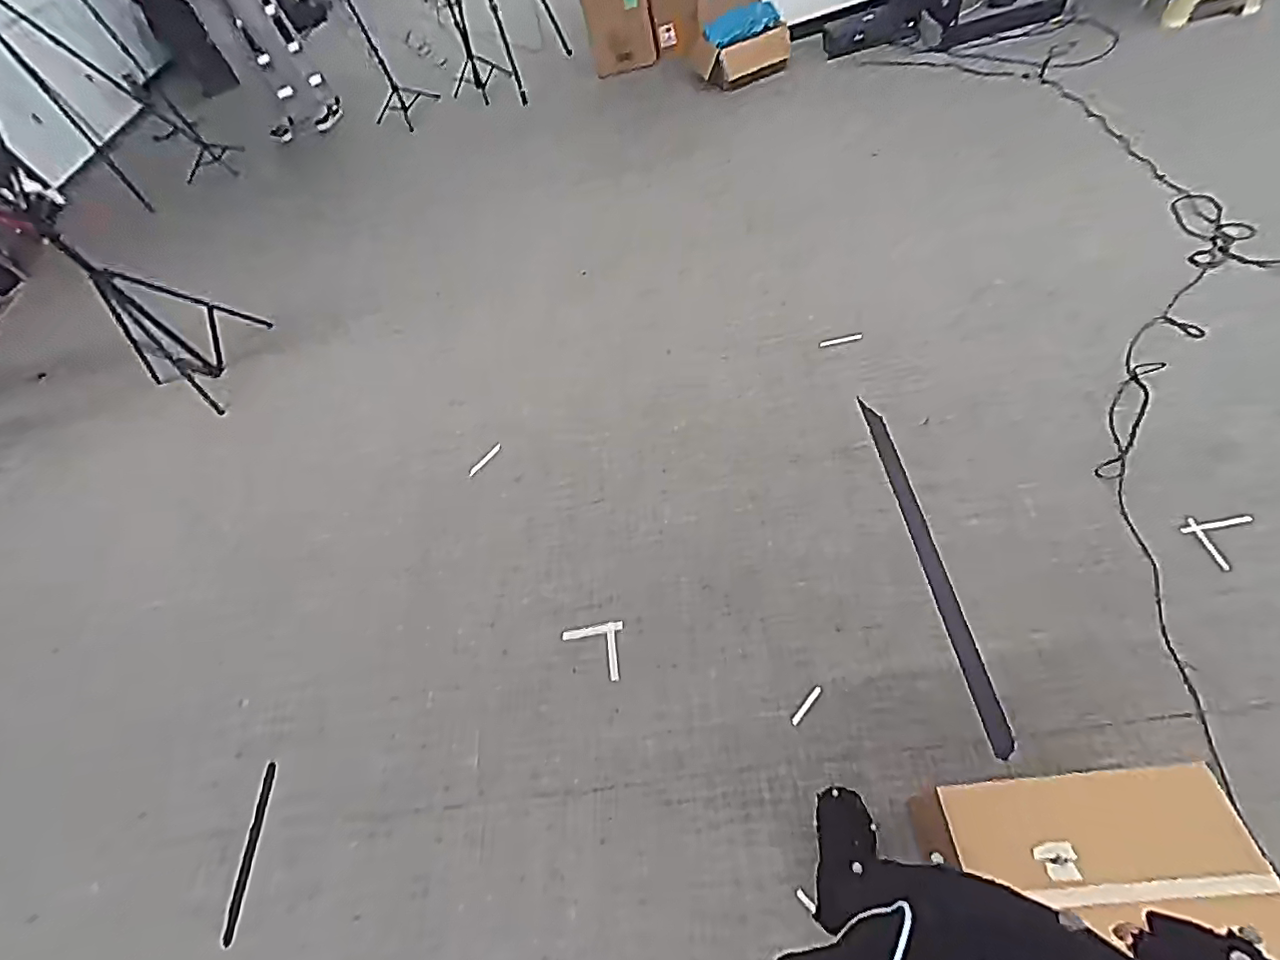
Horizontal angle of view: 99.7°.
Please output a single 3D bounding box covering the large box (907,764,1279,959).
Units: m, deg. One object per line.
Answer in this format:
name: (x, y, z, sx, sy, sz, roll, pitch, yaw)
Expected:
large box: (0.725, 0.689, 0.905, 0.408, 0.320, 0.320, -12, 53, 10)
